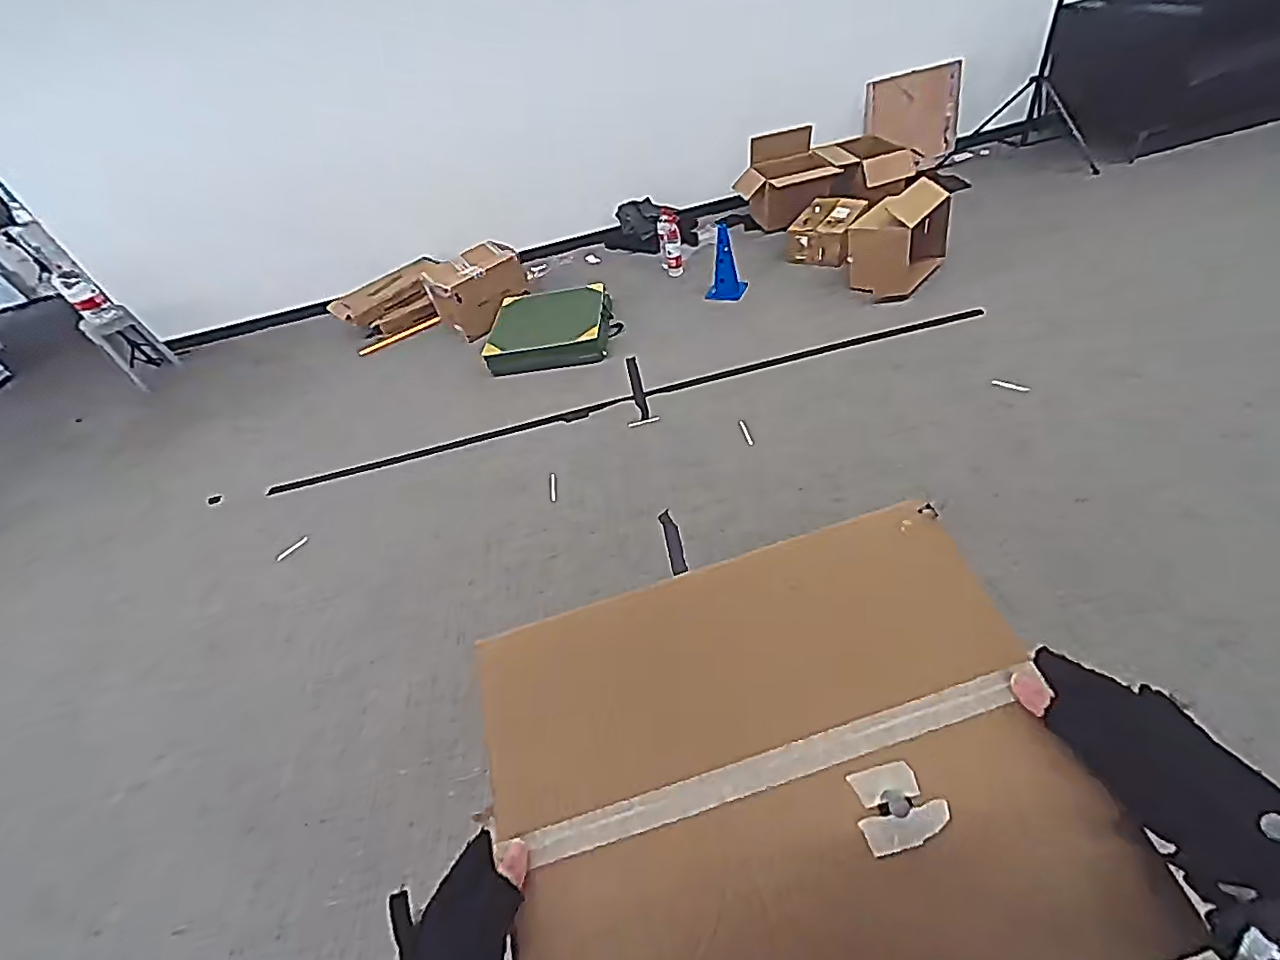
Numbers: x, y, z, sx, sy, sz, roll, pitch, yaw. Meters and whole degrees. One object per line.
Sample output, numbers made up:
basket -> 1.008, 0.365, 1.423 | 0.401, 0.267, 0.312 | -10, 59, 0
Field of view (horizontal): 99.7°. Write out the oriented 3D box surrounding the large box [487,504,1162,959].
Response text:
large box -> 0.113, 0.281, 0.528 | 0.408, 0.320, 0.320 | -18, 59, -3
